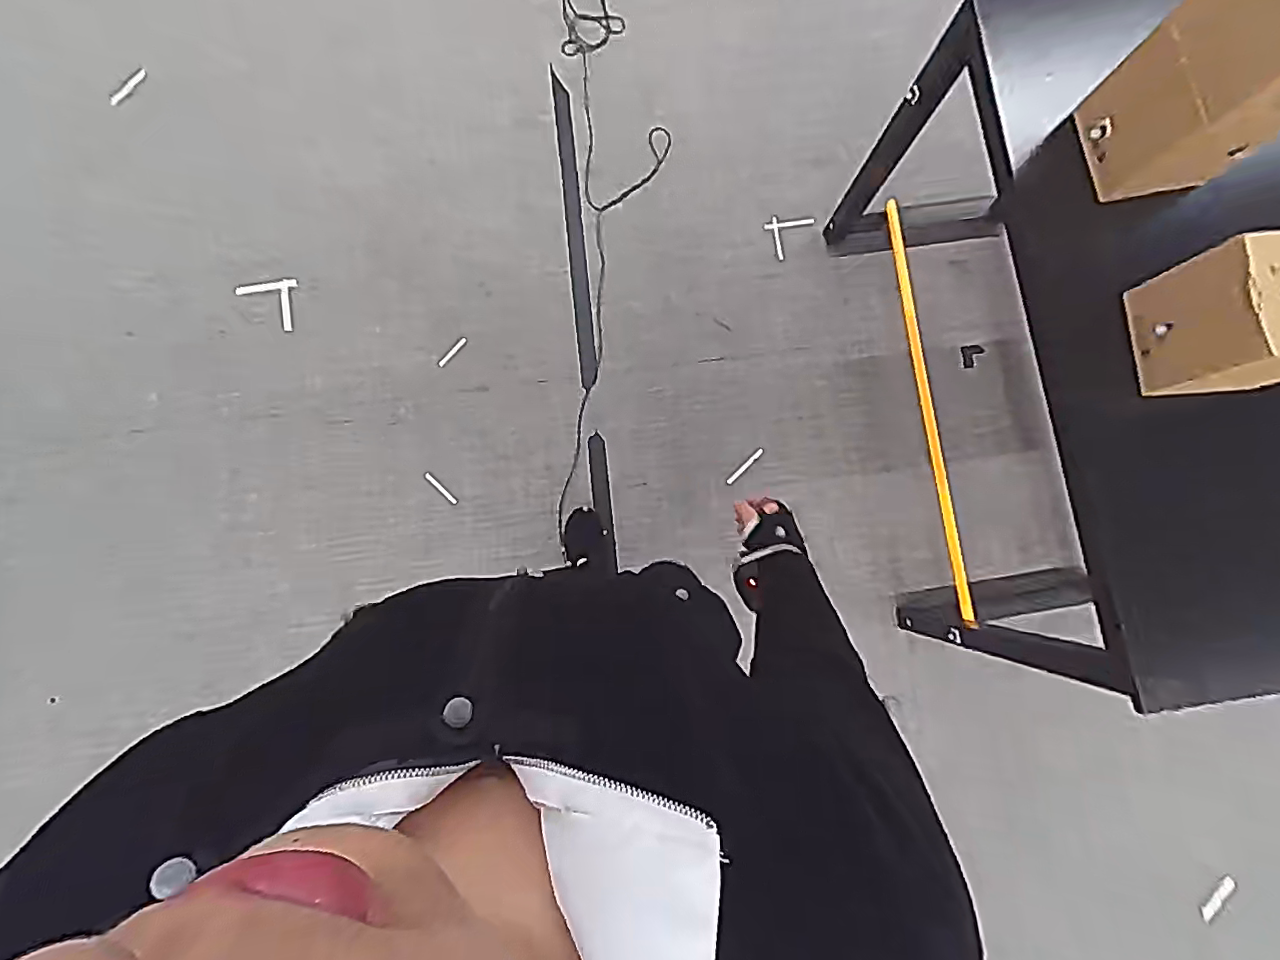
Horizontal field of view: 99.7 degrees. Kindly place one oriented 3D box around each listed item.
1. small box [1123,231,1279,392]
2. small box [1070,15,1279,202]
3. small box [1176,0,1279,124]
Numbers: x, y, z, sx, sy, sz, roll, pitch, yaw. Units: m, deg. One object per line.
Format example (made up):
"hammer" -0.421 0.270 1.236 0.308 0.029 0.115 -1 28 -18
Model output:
"small box" 0.844 -0.226 0.757 0.179 0.176 0.168 -4 83 -2
"small box" 0.798 -0.545 0.796 0.179 0.176 0.168 -12 83 -2
"small box" 0.798 -0.566 0.633 0.168 0.176 0.179 -12 84 -3
